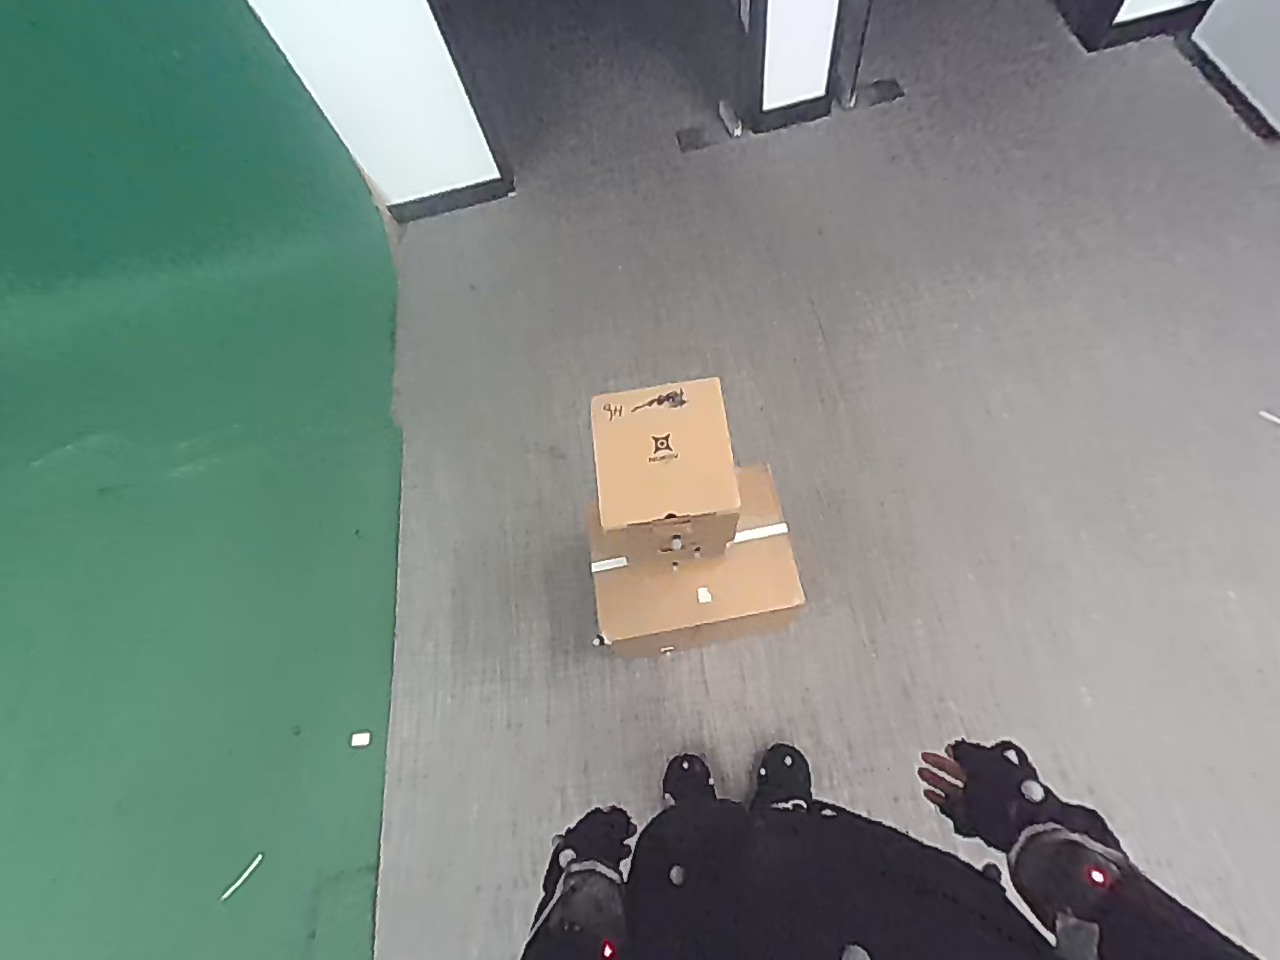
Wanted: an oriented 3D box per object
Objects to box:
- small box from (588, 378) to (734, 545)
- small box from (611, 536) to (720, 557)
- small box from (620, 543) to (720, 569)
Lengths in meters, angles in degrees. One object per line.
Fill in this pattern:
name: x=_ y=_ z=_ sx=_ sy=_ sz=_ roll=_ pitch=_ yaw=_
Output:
small box: x=0.032 y=-0.013 z=0.730 sx=0.168 sy=0.176 sz=0.179 roll=-8 pitch=72 yaw=4
small box: x=0.044 y=0.027 z=0.889 sx=0.168 sy=0.176 sz=0.179 roll=-5 pitch=71 yaw=5
small box: x=0.057 y=0.072 z=1.041 sx=0.179 sy=0.176 sz=0.168 roll=-5 pitch=70 yaw=6
